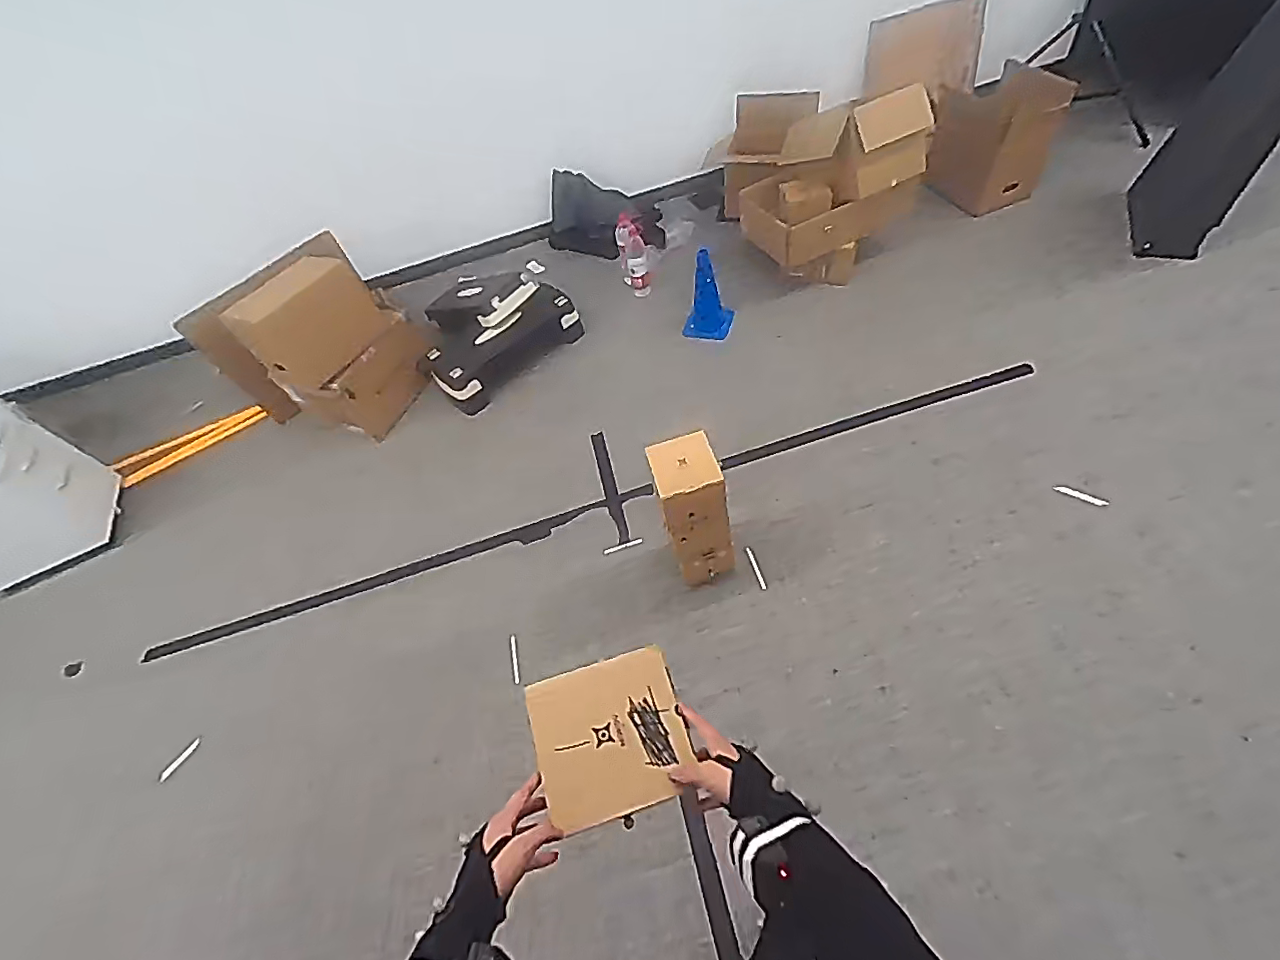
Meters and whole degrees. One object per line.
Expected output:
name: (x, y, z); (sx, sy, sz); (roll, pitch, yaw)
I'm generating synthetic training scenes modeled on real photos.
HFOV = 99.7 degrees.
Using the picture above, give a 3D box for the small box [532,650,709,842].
small box: (-0.027, 0.338, 0.694); (0.179, 0.176, 0.168); (-15, 60, -7)

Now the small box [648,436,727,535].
small box: (0.128, 0.016, 1.436); (0.168, 0.176, 0.179); (-16, 53, -1)

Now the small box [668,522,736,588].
small box: (0.191, 0.210, 1.694); (0.168, 0.176, 0.179); (-20, 54, -2)
